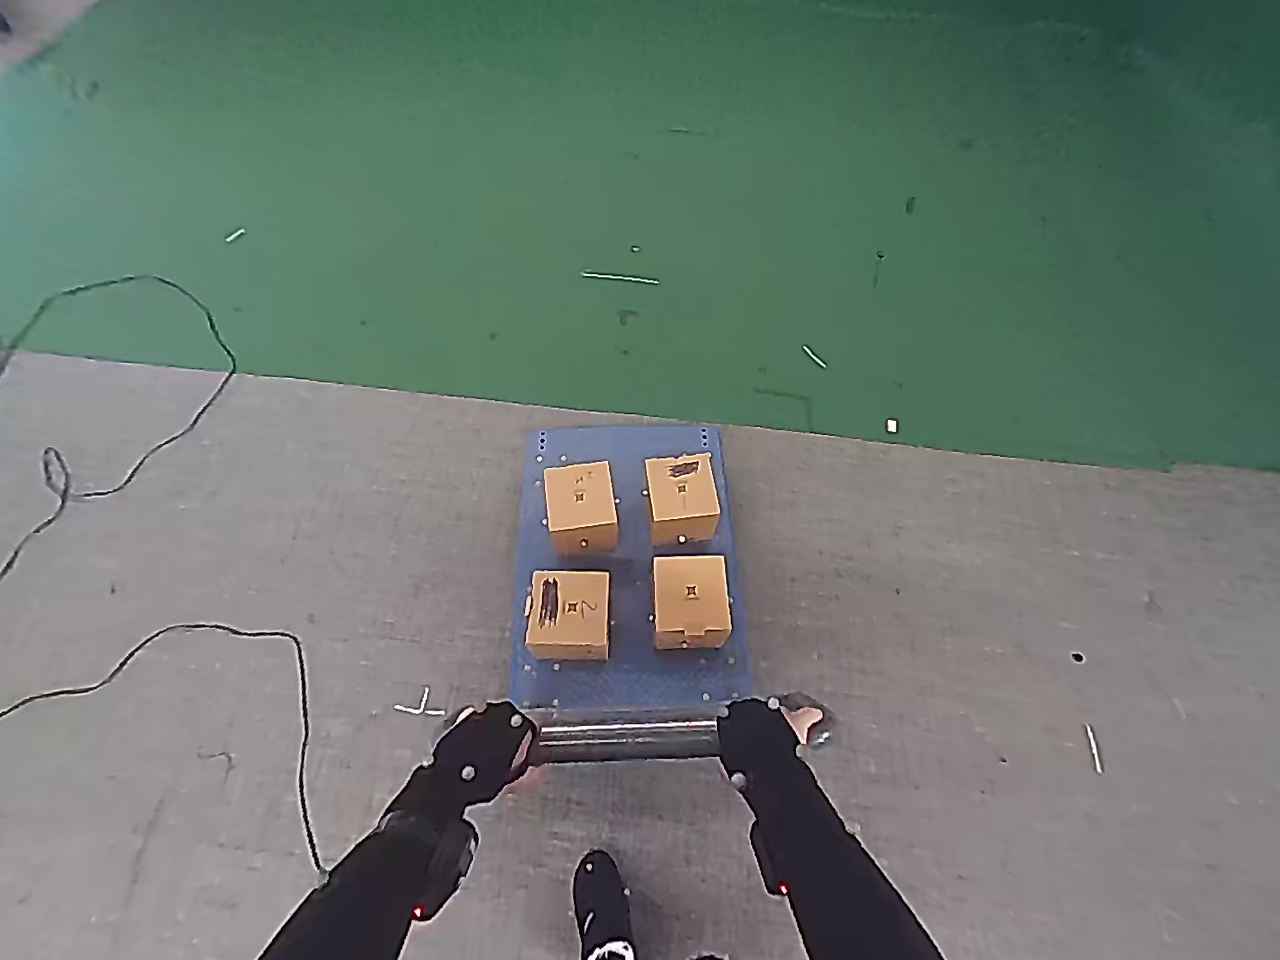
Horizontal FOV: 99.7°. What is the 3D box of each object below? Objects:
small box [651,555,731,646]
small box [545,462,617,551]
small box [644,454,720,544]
[{"bbox_3d":[0.114,0.289,1.288,0.168,0.176,0.179,-1,63,-2],"label":"small box"},{"bbox_3d":[-0.150,0.075,1.396,0.168,0.176,0.179,-7,62,-6],"label":"small box"},{"bbox_3d":[0.102,0.053,1.414,0.168,0.176,0.179,-6,63,-4],"label":"small box"}]
